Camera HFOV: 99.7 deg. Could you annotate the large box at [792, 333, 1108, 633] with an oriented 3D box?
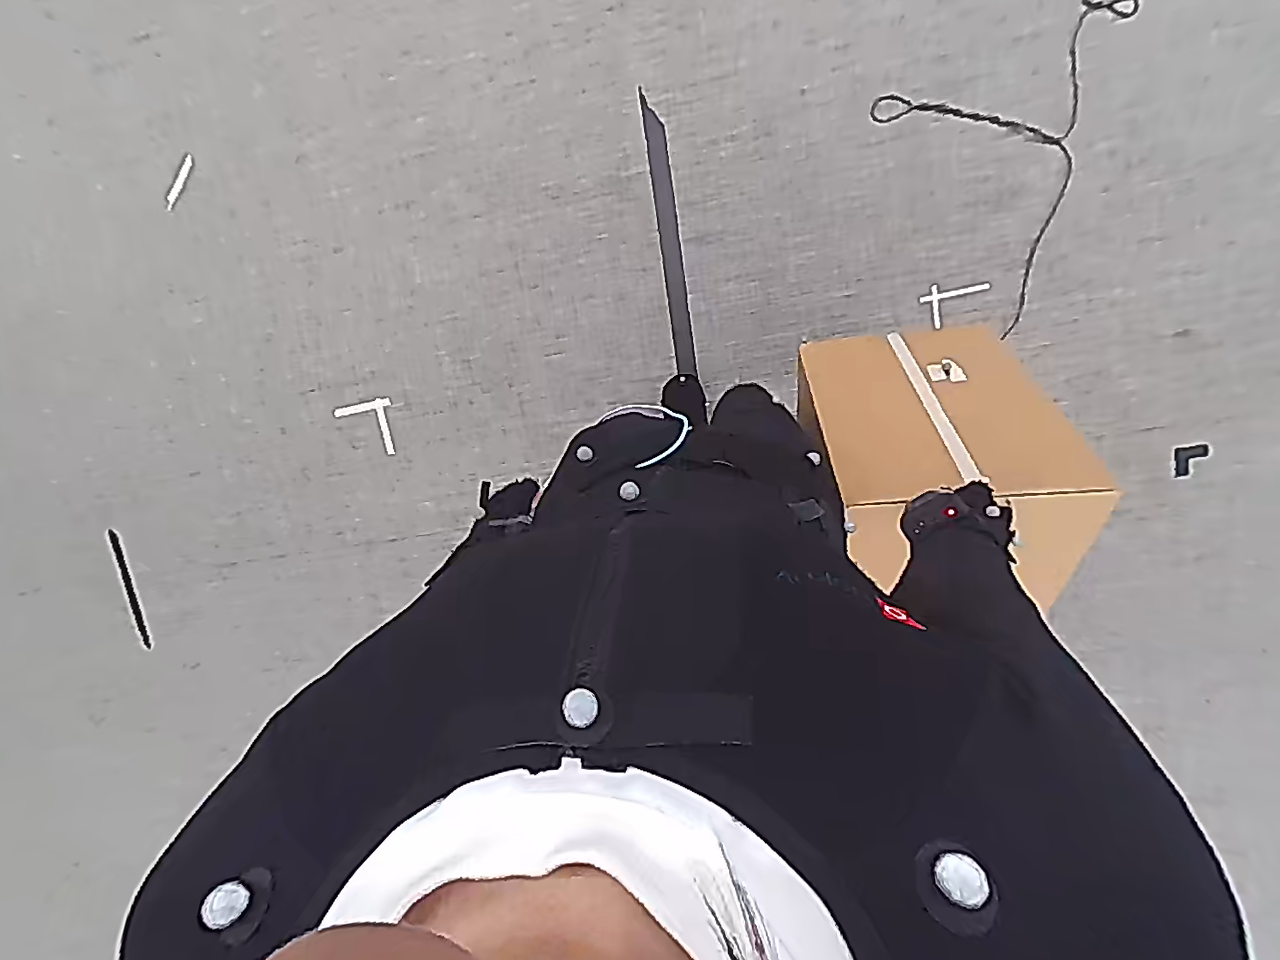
[{"bbox_3d":[0.446,-0.002,0.909,0.320,0.408,0.320,-3,131,7],"label":"large box"}]
